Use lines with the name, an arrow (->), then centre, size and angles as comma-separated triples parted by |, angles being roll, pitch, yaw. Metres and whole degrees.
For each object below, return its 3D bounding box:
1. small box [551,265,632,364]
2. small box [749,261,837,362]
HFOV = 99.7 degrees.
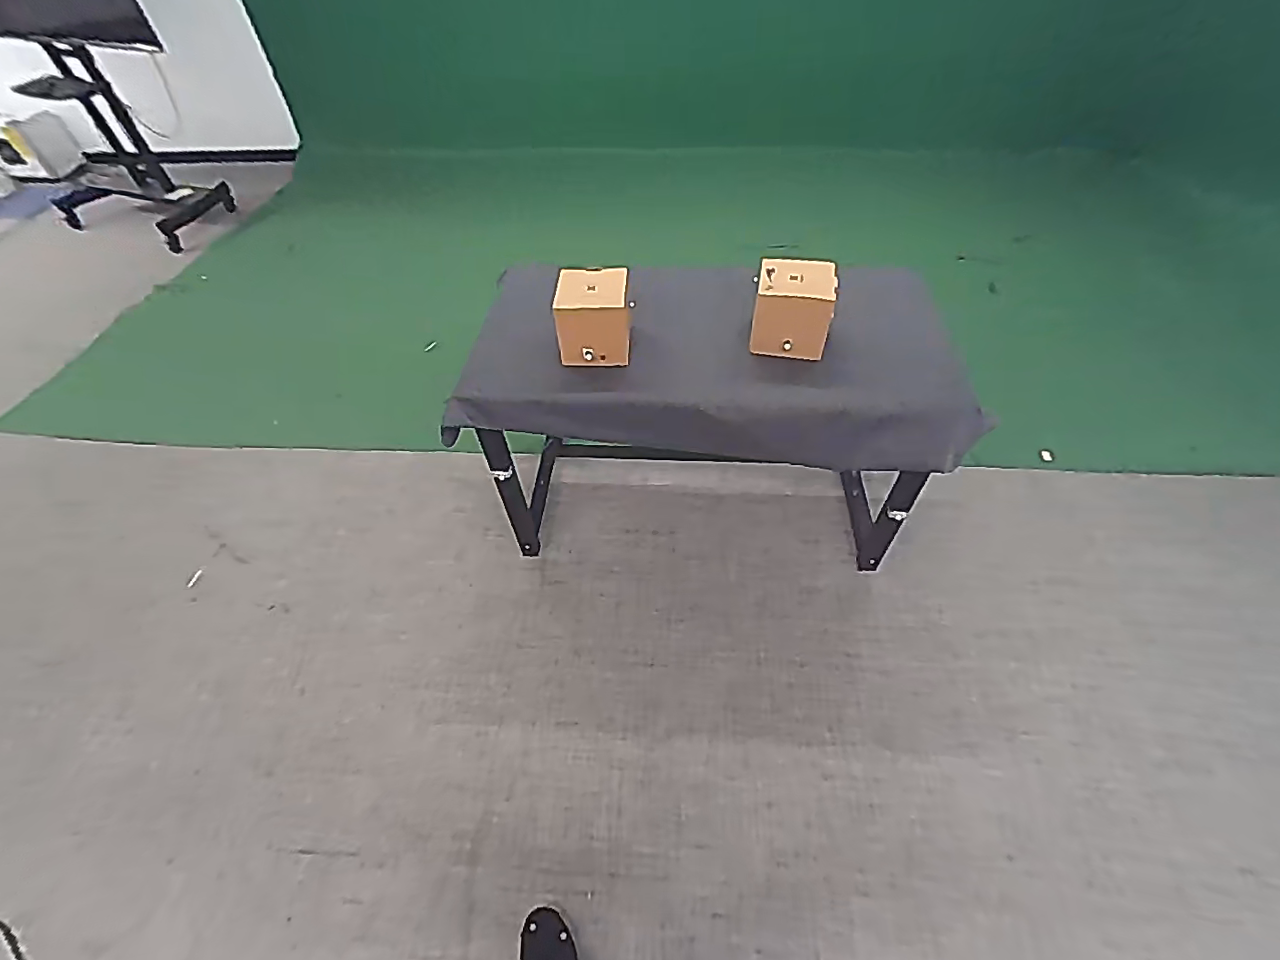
small box -> -0.110, -0.405, 1.322 | 0.168, 0.176, 0.179 | 0, 50, 5
small box -> 0.373, -0.411, 1.330 | 0.179, 0.176, 0.168 | 9, 51, 9
